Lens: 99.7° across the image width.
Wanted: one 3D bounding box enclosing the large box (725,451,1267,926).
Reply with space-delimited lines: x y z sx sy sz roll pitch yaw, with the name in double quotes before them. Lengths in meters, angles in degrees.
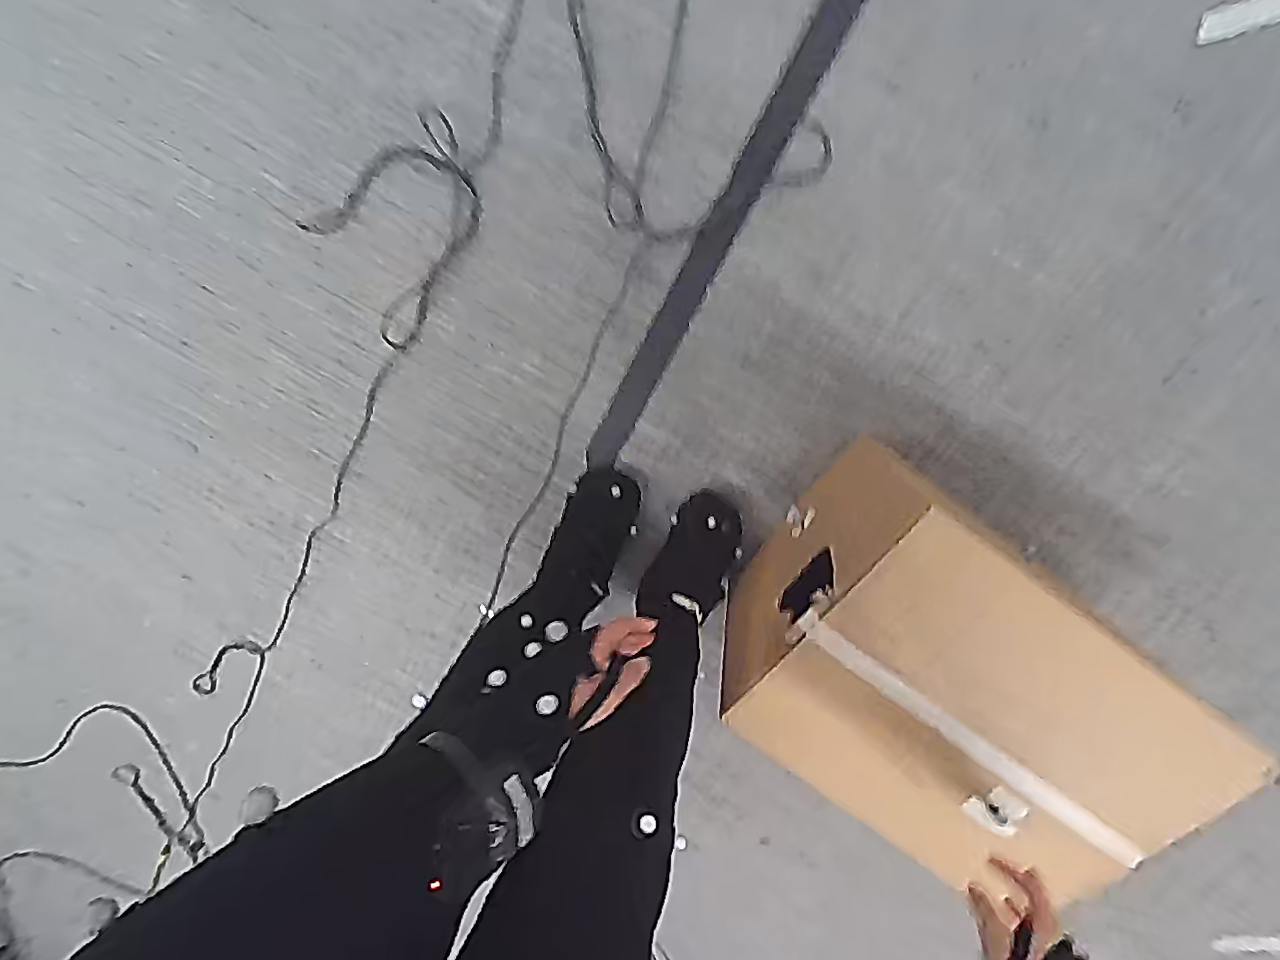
"large box" 0.355 0.221 0.679 0.408 0.320 0.320 36 110 -2
